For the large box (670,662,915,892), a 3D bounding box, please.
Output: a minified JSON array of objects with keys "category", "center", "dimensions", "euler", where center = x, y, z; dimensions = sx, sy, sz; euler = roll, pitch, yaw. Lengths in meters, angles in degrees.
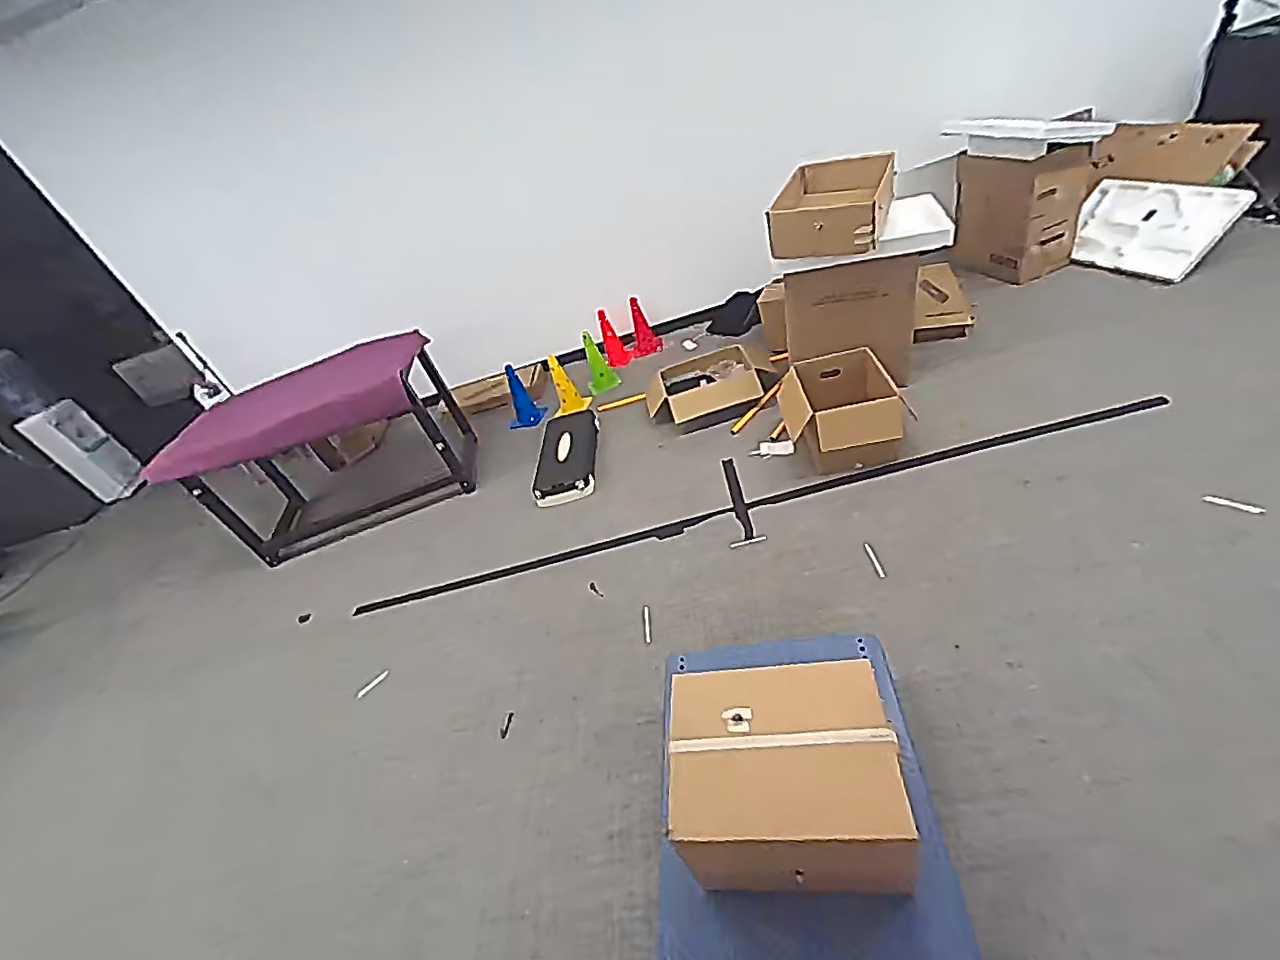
[{"category":"large box","center":[0.296,0.609,1.096],"dimensions":[0.408,0.320,0.320],"euler":[-11,37,14]}]
